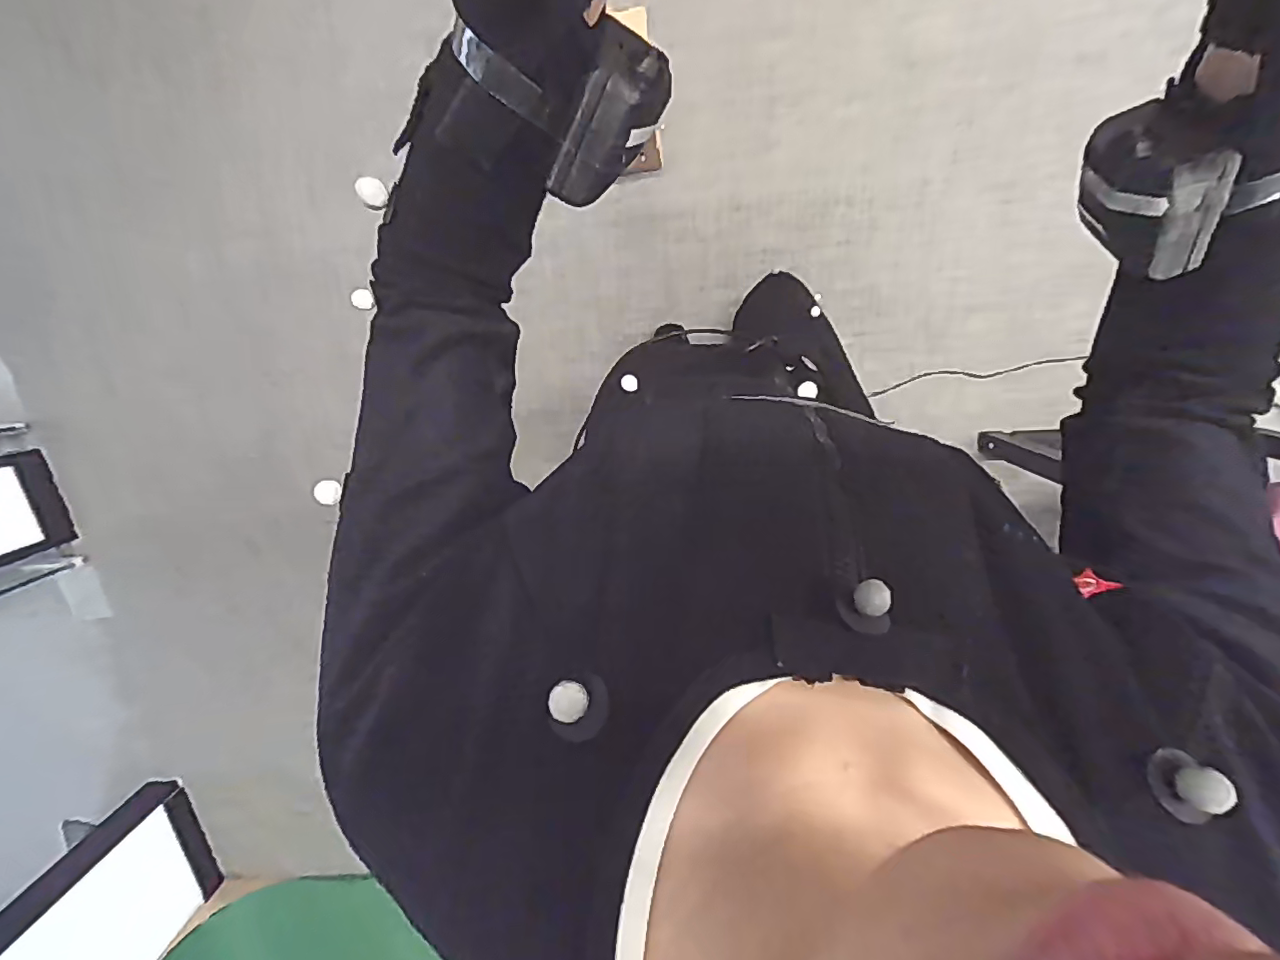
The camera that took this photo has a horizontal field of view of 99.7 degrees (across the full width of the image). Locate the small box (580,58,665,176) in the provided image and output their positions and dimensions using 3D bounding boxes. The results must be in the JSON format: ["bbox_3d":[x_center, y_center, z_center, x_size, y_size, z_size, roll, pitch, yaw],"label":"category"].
[{"bbox_3d":[-0.039,-0.788,1.193,0.179,0.176,0.168,-4,106,5],"label":"small box"}]

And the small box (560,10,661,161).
[{"bbox_3d":[-0.049,-0.742,1.036,0.168,0.176,0.179,-4,105,5],"label":"small box"}]
